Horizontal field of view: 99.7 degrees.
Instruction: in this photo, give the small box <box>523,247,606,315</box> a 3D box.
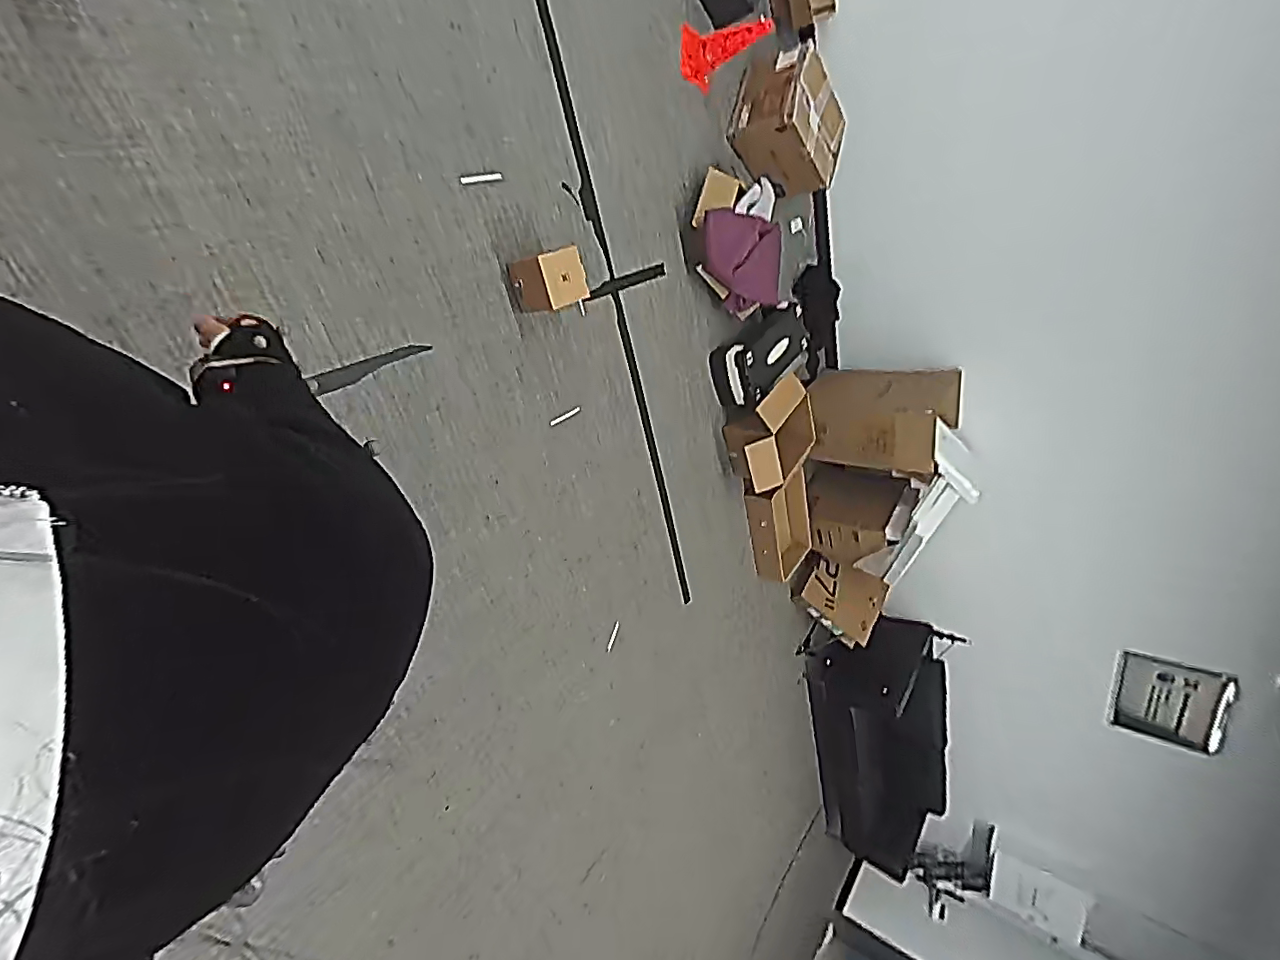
[{"bbox_3d":[-0.242,-0.638,1.741,0.179,0.176,0.168,-38,124,-38],"label":"small box"}]
